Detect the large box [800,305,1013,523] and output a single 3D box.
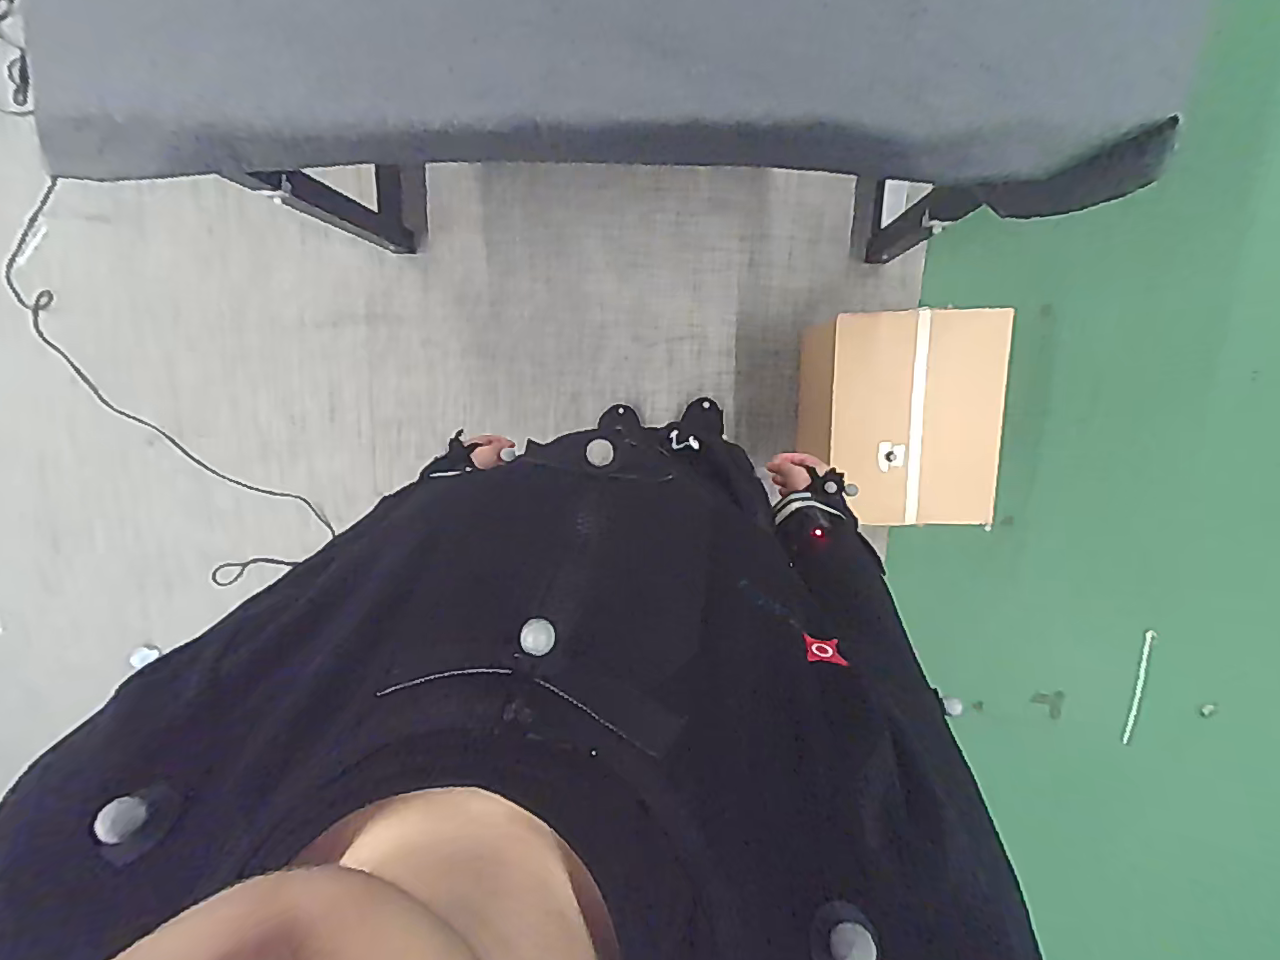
[{"bbox_3d":[0.531,-0.143,1.155,0.320,0.320,0.408,0,101,5],"label":"large box"}]
